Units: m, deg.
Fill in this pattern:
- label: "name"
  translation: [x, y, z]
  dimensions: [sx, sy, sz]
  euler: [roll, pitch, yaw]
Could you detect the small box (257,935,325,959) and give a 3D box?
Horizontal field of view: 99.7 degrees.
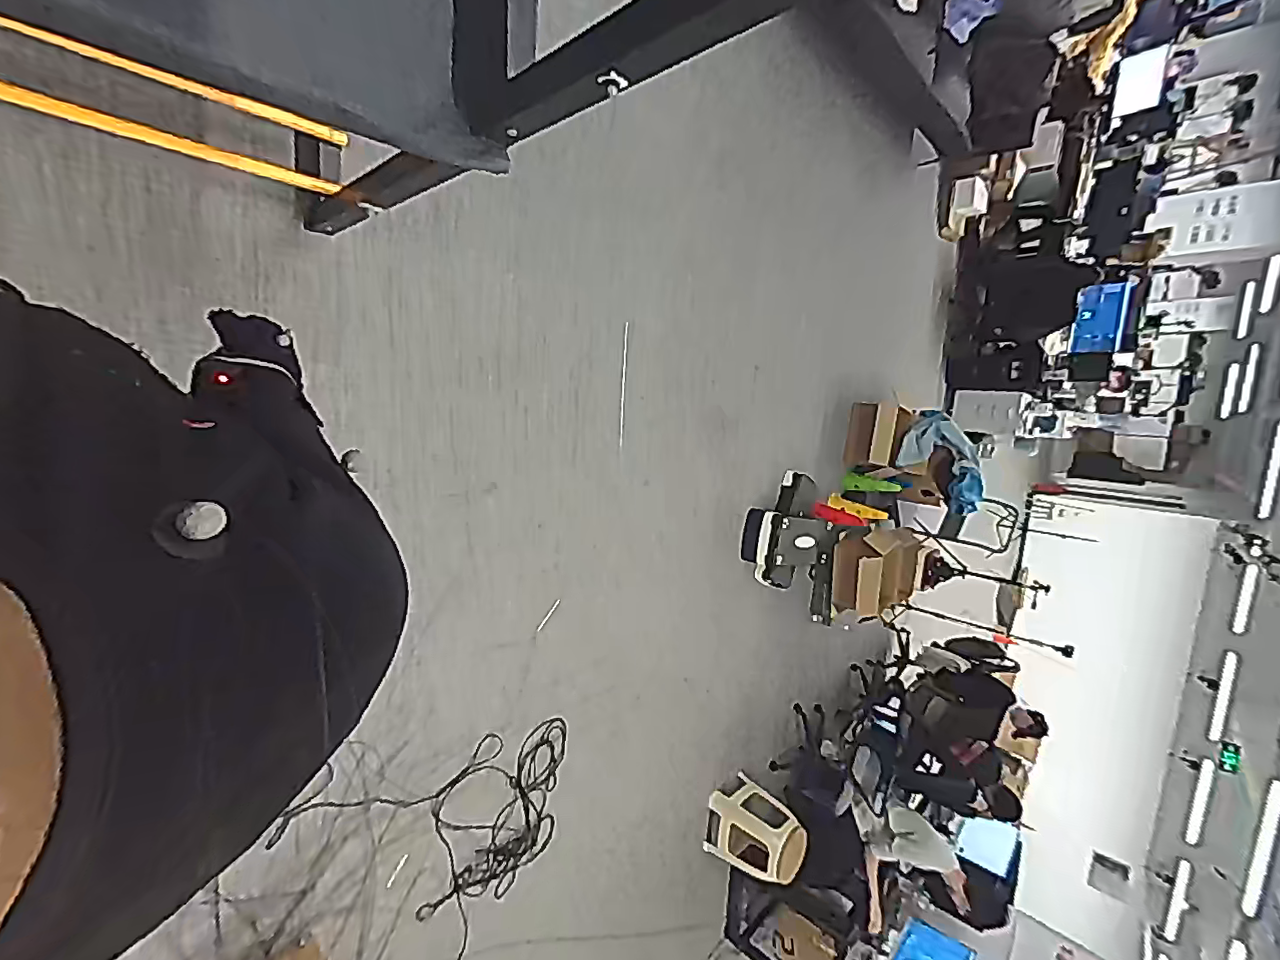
- label: "small box"
  translation: [-0.930, 1.356, 1.420]
  dimensions: [0.168, 0.176, 0.179]
  euler: [-9, 105, -47]
